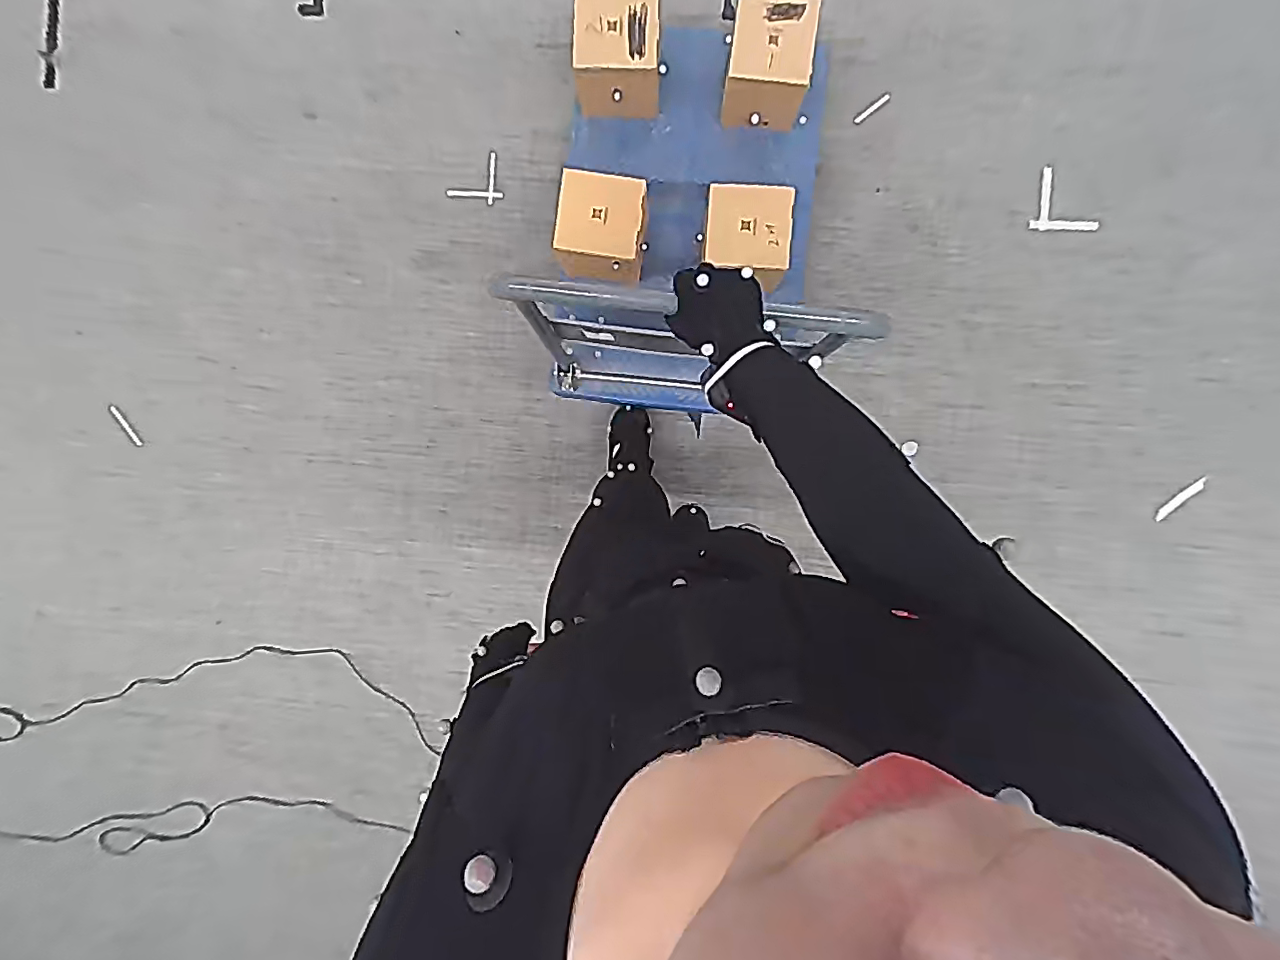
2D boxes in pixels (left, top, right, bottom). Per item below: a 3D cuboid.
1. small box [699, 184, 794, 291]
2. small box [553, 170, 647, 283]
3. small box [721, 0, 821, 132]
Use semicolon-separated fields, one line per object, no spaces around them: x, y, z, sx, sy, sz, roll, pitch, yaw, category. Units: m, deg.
0.226;-0.522;1.186;0.179;0.176;0.168;4;94;2;small box
-0.082;-0.550;1.194;0.179;0.176;0.168;8;93;0;small box
0.271;-0.893;1.162;0.168;0.176;0.179;7;95;2;small box
